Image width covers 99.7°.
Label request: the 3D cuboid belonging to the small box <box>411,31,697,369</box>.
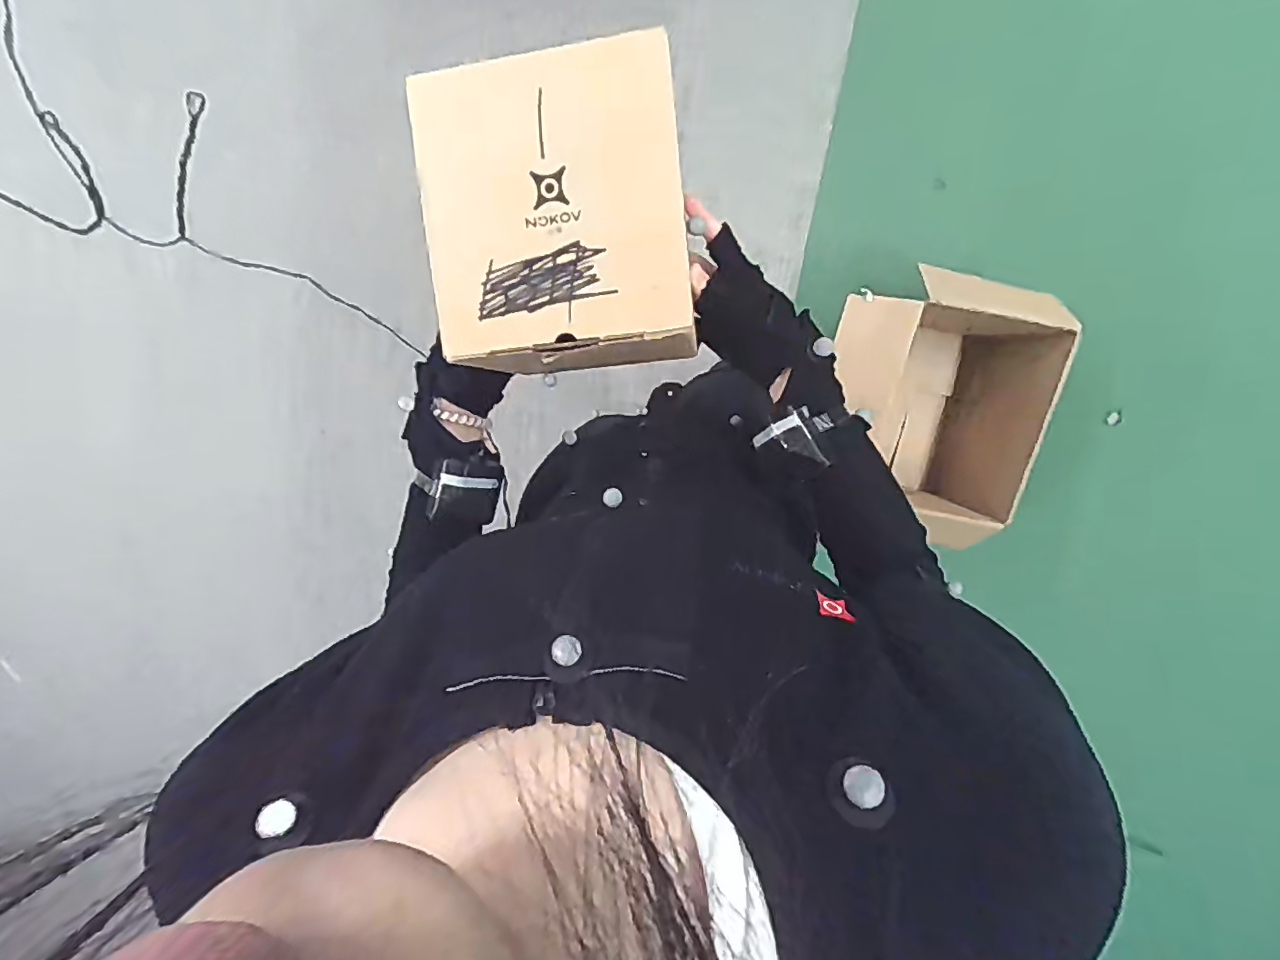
[{"bbox_3d":[-0.045,-0.181,0.414,0.168,0.176,0.179,-5,97,7],"label":"small box"}]
